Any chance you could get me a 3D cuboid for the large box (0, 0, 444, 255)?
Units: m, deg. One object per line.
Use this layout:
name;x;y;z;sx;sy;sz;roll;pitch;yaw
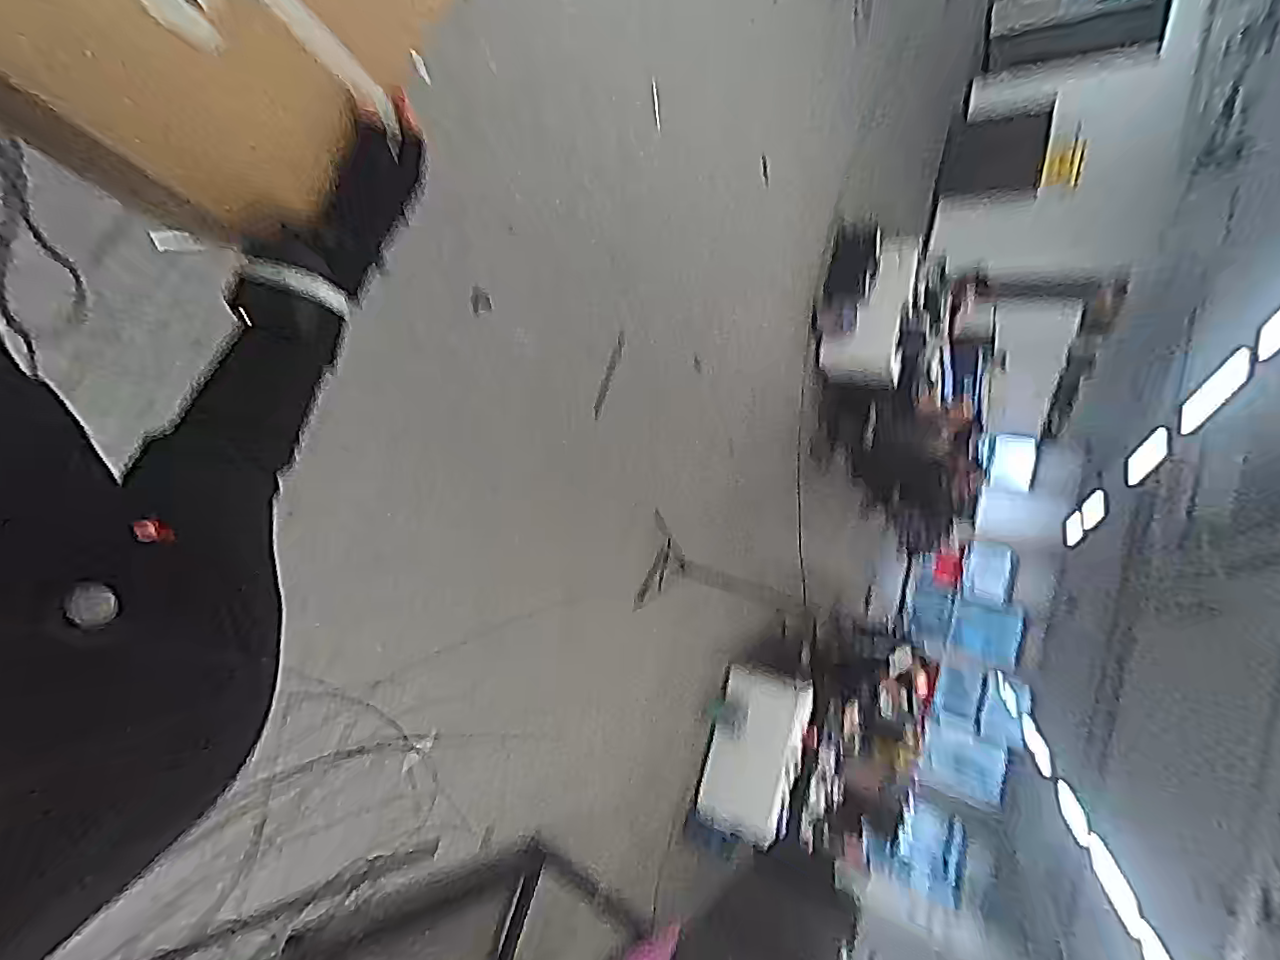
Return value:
large box;-0.440;-0.434;0.393;0.320;0.320;0.408;-62;147;-6
